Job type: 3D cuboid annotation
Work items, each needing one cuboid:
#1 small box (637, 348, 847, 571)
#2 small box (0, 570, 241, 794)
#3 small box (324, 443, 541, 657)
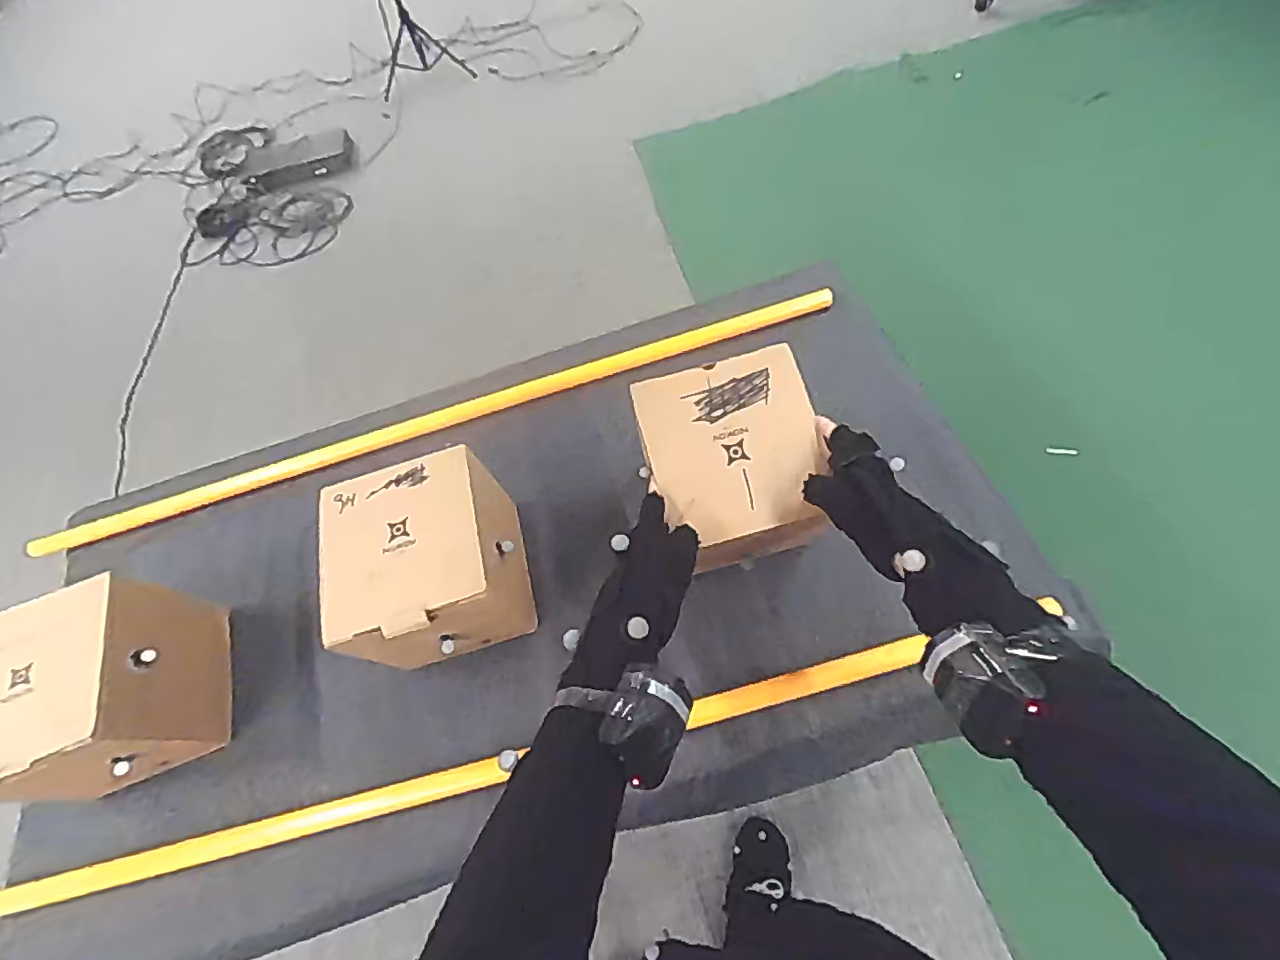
[{"bbox_3d":[0.100,-0.013,0.602,0.168,0.176,0.179,-16,72,1],"label":"small box"},{"bbox_3d":[-0.589,0.231,0.609,0.168,0.176,0.179,-22,61,-4],"label":"small box"},{"bbox_3d":[-0.229,0.092,0.622,0.168,0.176,0.179,-21,62,0],"label":"small box"}]
